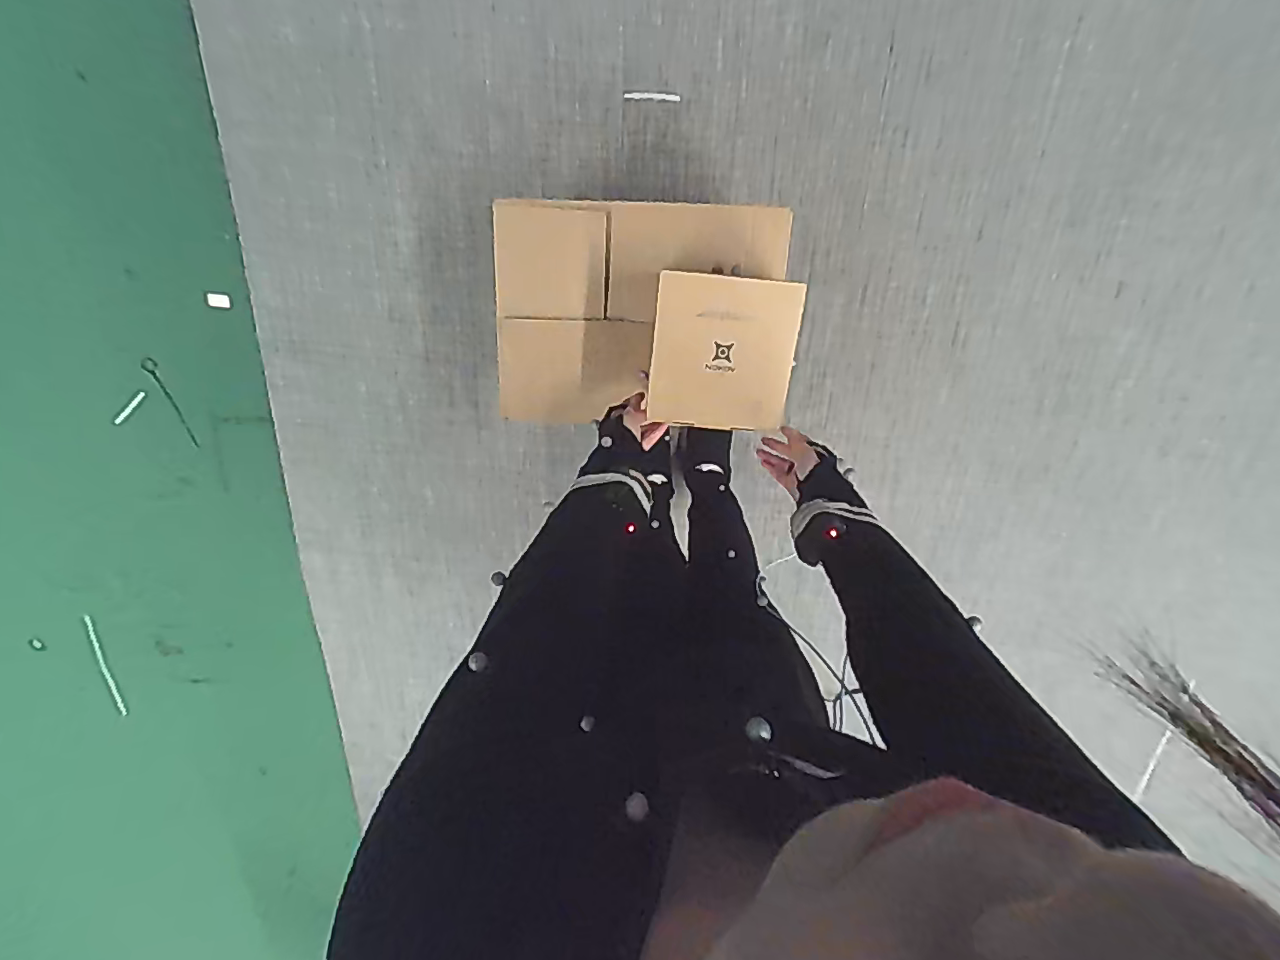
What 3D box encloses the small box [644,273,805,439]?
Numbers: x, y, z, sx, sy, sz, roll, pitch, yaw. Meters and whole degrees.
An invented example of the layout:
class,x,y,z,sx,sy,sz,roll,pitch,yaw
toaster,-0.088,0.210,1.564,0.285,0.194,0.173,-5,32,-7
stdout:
class,x,y,z,sx,sy,sz,roll,pitch,yaw
small box,0.098,-0.166,0.701,0.168,0.176,0.179,6,109,0
